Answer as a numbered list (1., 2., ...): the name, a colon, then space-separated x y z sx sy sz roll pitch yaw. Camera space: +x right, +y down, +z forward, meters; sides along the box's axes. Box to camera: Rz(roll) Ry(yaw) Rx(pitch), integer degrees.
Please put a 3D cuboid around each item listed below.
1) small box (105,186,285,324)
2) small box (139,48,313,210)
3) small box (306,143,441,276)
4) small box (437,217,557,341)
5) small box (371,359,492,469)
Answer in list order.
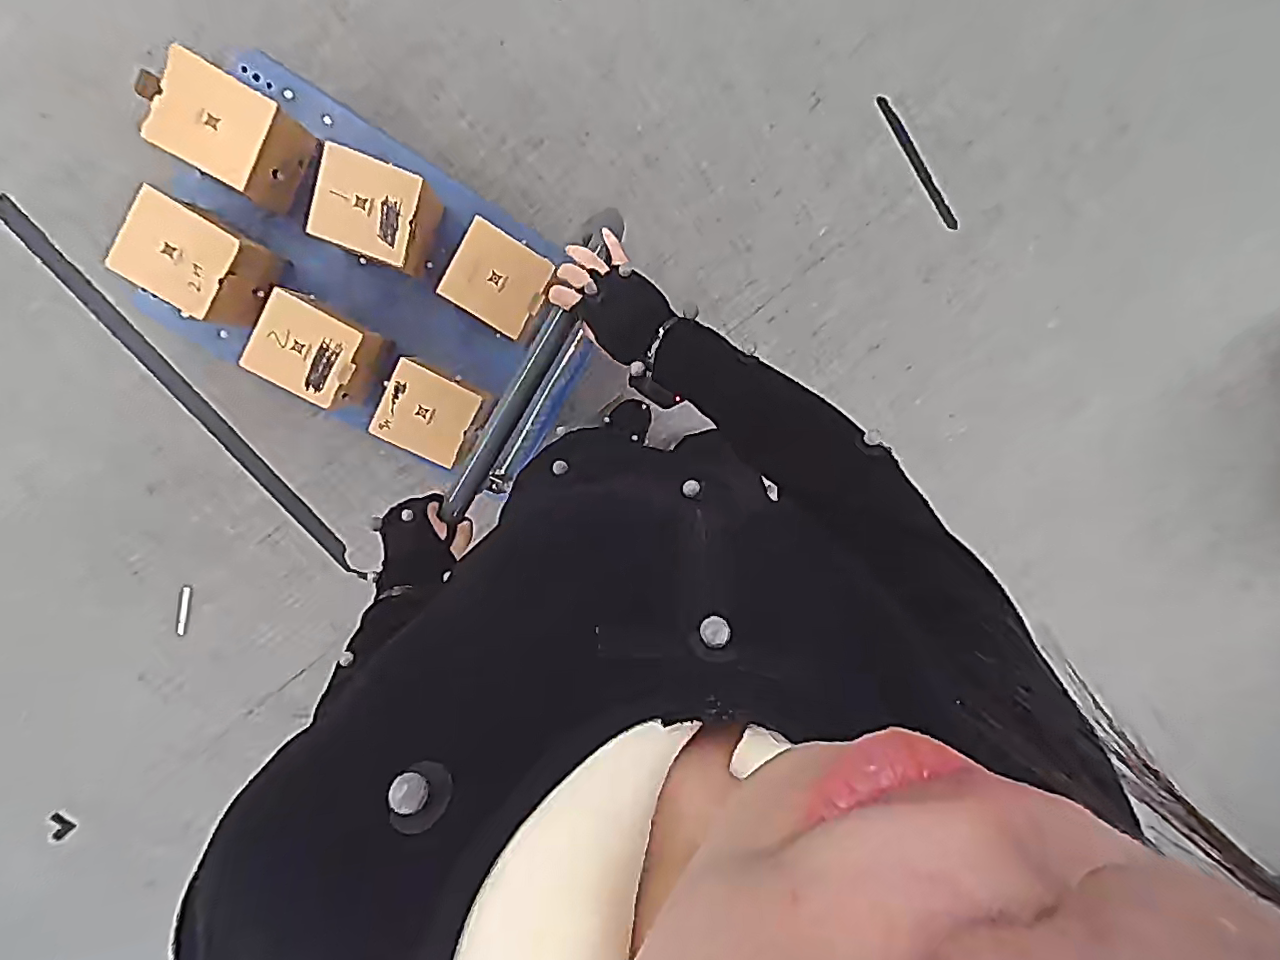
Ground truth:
1. small box: -0.836 -0.414 1.036 0.179 0.176 0.168 31 97 -14
2. small box: -0.749 -0.630 1.003 0.179 0.176 0.168 26 98 -12
3. small box: -0.509 -0.514 1.060 0.179 0.176 0.168 17 99 -10
4. small box: -0.283 -0.403 1.117 0.179 0.176 0.168 30 96 -12
5. small box: -0.431 -0.146 1.150 0.179 0.176 0.168 26 96 -13
